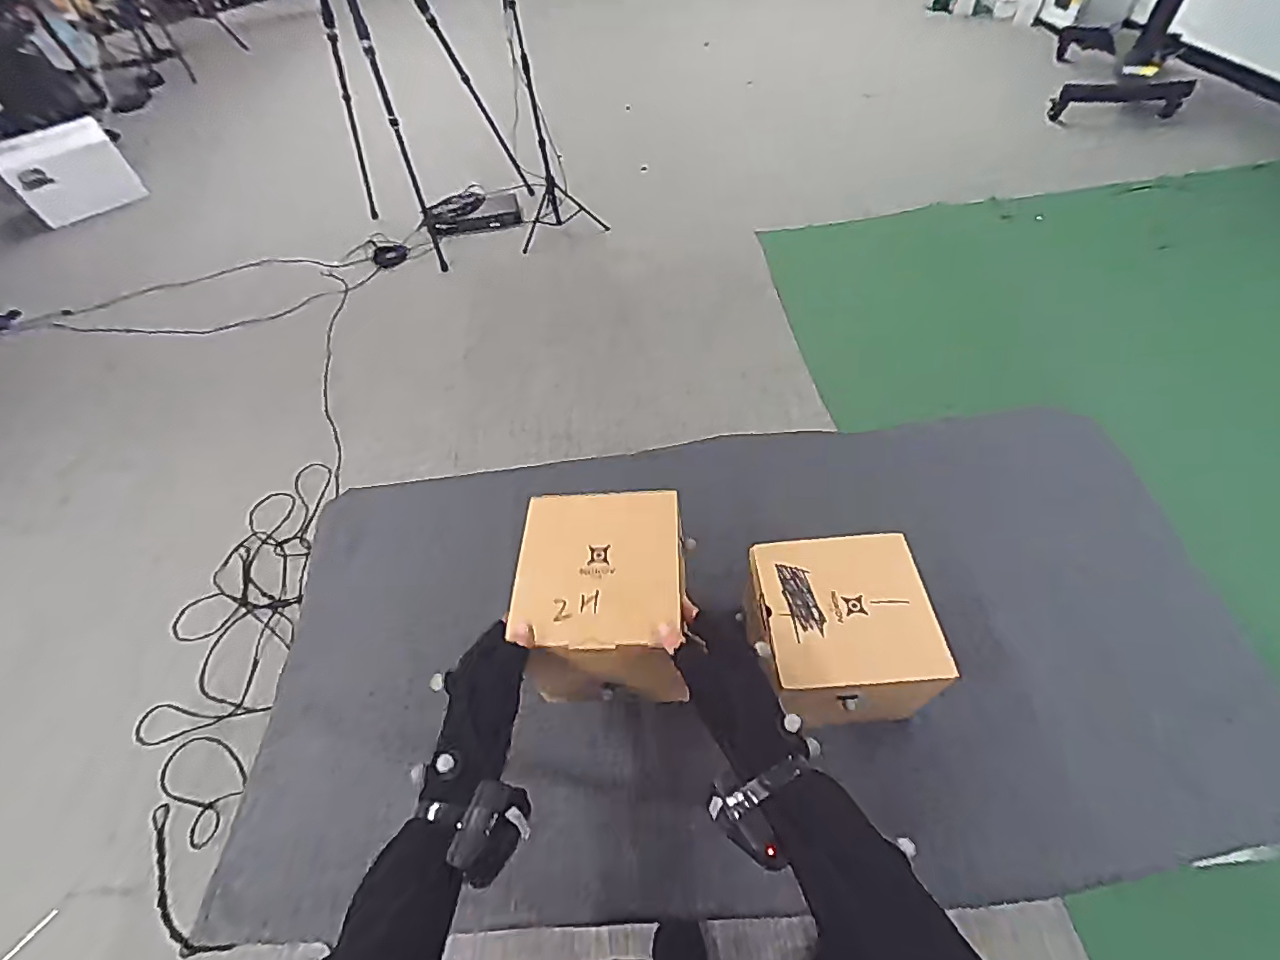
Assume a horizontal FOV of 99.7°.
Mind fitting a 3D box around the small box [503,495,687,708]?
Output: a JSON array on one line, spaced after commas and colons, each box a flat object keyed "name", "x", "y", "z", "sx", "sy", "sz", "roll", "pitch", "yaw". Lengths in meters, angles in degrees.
[{"name": "small box", "x": -0.034, "y": 0.136, "z": 0.601, "sx": 0.168, "sy": 0.176, "sz": 0.179, "roll": -2, "pitch": 51, "yaw": 6}]

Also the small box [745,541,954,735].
[{"name": "small box", "x": 0.222, "y": 0.191, "z": 0.635, "sx": 0.179, "sy": 0.176, "sz": 0.168, "roll": -5, "pitch": 52, "yaw": 2}]
